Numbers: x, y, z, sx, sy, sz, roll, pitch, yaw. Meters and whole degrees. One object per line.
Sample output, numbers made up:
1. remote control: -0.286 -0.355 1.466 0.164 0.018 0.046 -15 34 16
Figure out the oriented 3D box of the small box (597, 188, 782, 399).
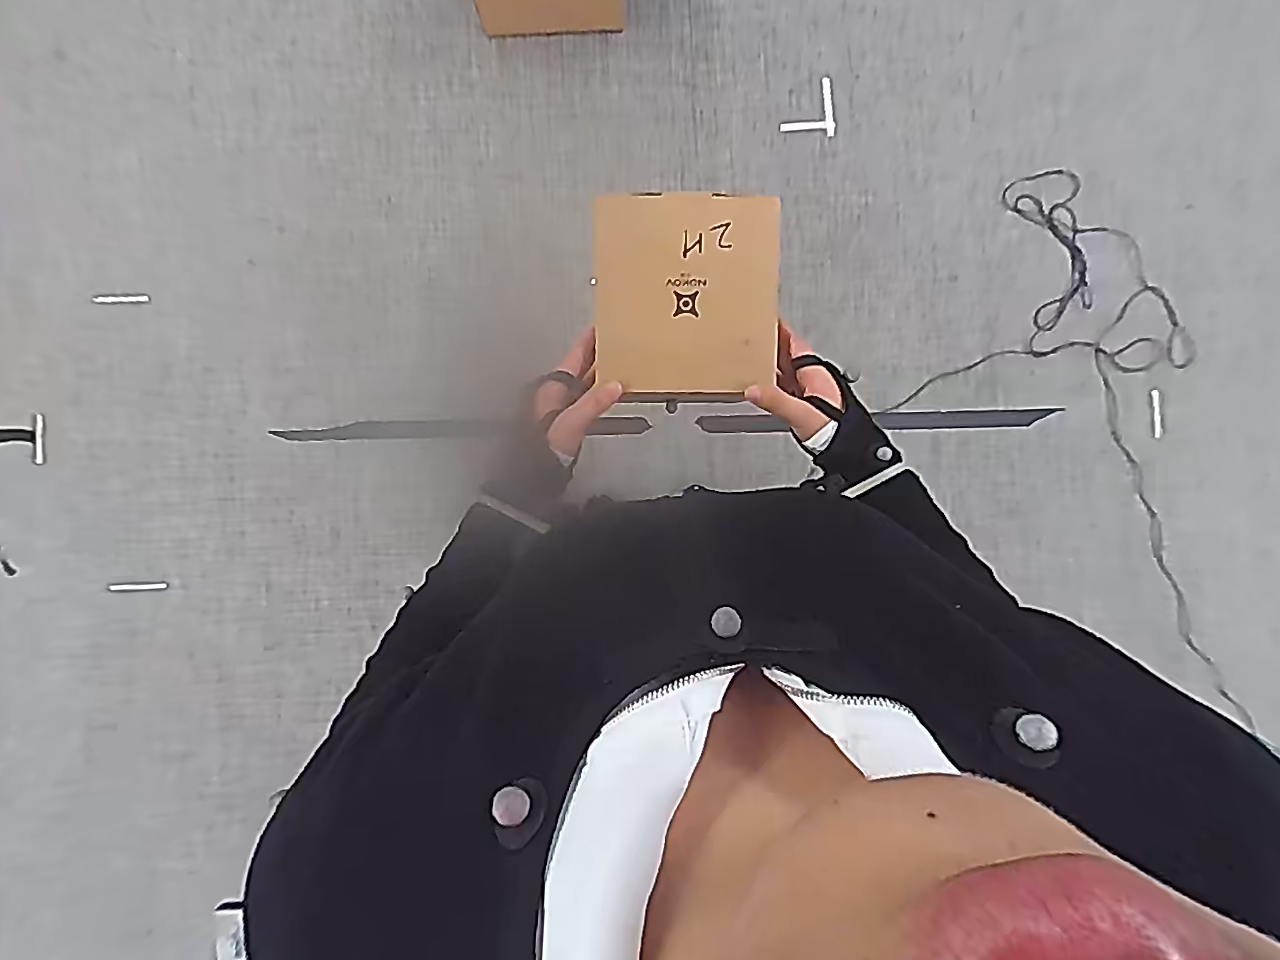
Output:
1. small box: 0.041 -0.178 0.569 0.168 0.176 0.179 0 94 -3
